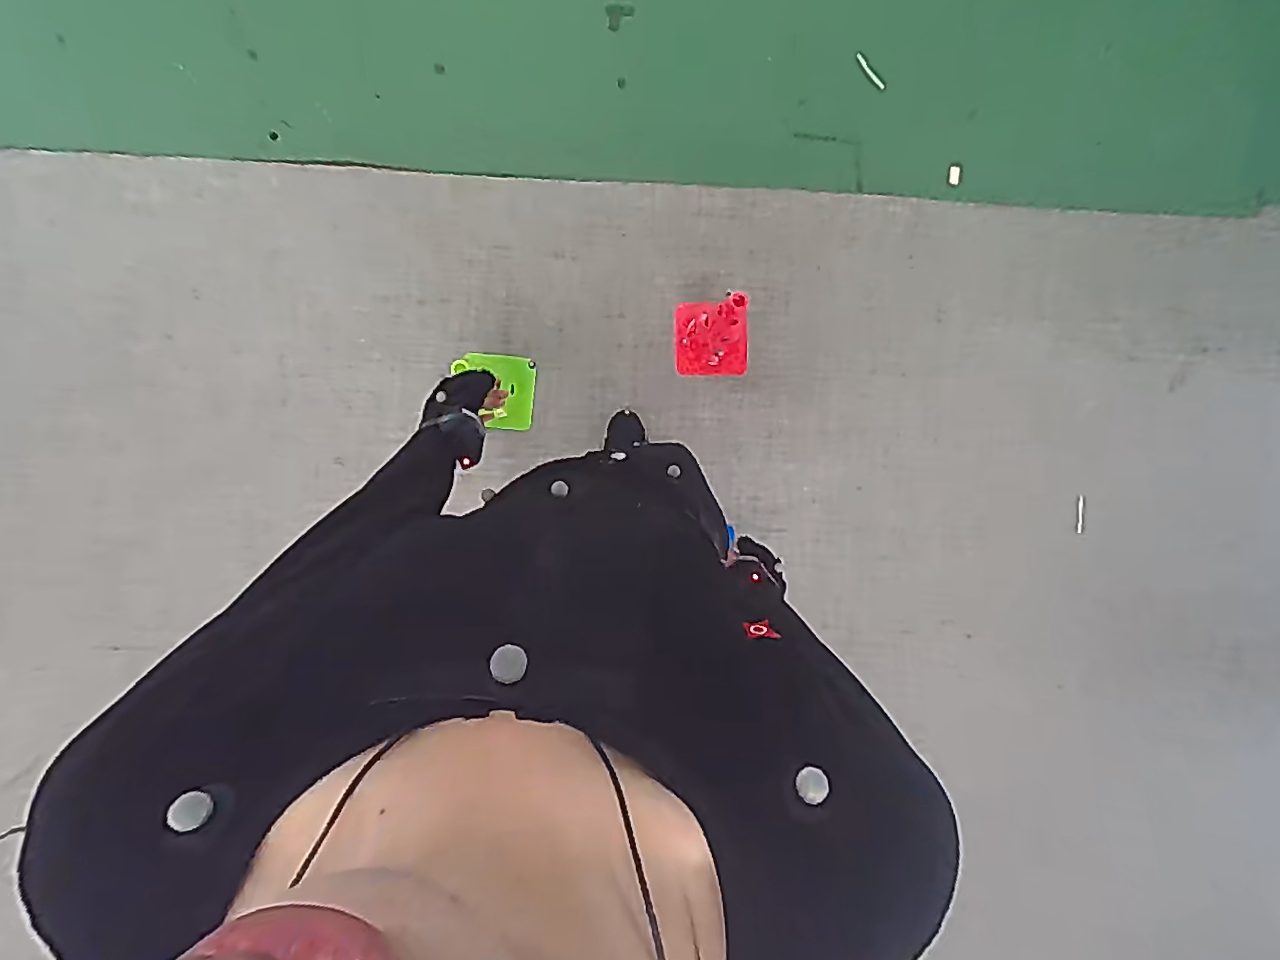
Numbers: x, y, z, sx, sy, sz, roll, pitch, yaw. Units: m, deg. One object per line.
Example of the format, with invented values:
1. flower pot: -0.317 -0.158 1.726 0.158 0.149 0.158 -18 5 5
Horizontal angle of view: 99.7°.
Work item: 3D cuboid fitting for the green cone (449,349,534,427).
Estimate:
1. green cone: -0.389 -0.243 1.306 0.200 0.368 0.202 4 92 -2
